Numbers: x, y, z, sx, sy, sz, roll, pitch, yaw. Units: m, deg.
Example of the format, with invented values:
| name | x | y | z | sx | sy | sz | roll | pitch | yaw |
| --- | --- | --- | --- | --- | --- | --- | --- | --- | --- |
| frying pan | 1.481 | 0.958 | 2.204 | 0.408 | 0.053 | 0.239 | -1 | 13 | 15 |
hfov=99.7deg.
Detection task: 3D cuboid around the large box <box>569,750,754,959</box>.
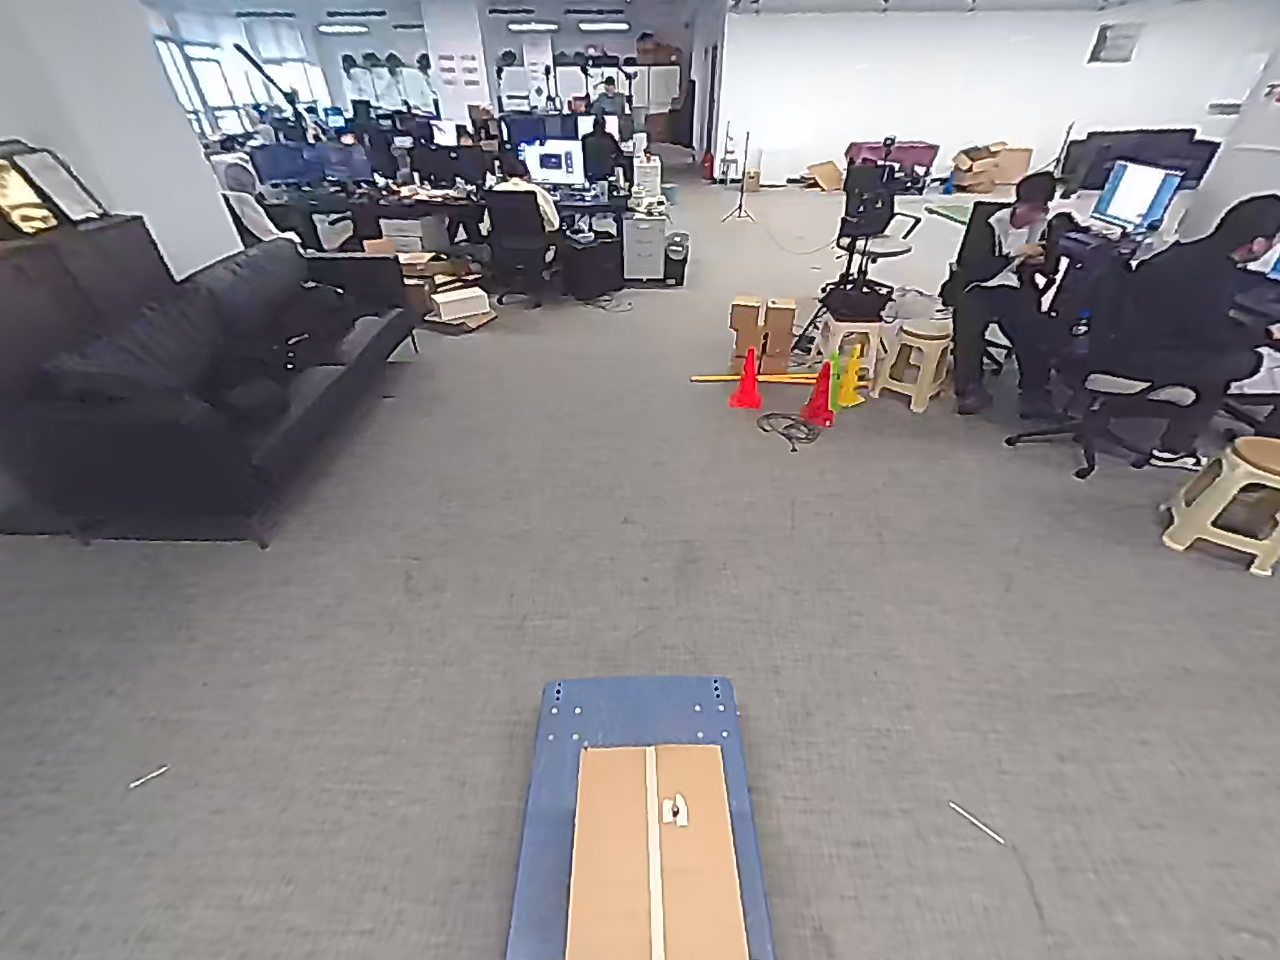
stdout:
| name | x | y | z | sx | sy | sz | roll | pitch | yaw |
| --- | --- | --- | --- | --- | --- | --- | --- | --- | --- |
| large box | 0.034 | 0.835 | 1.109 | 0.320 | 0.320 | 0.408 | -1 | 35 | -1 |
